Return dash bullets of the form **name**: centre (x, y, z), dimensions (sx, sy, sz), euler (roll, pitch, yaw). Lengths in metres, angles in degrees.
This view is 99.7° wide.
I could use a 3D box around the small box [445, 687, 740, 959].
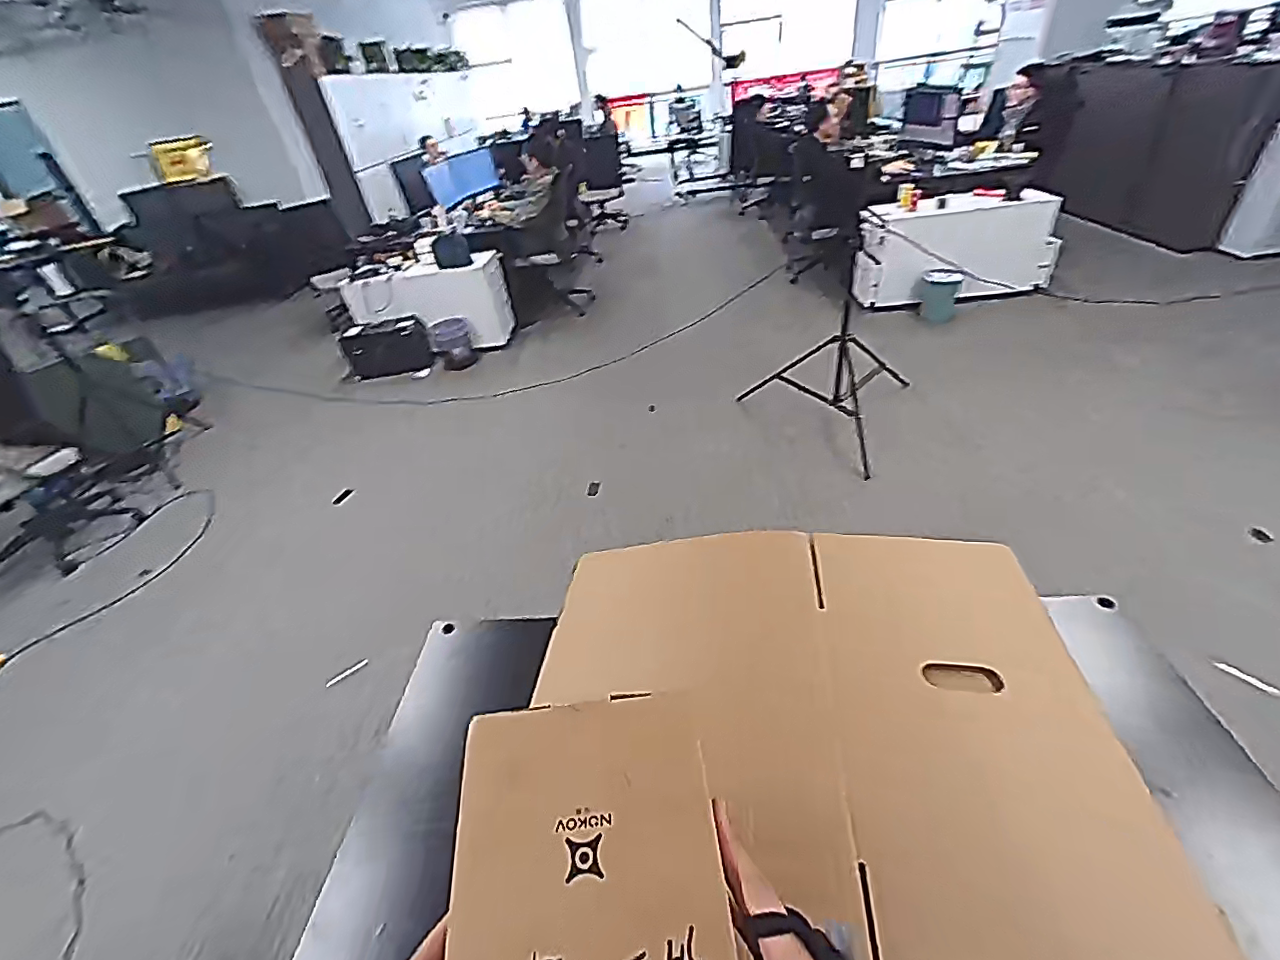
- **small box**: centre (-0.027, 0.279, 0.396), dimensions (0.168, 0.176, 0.179), euler (-8, 47, -1)
